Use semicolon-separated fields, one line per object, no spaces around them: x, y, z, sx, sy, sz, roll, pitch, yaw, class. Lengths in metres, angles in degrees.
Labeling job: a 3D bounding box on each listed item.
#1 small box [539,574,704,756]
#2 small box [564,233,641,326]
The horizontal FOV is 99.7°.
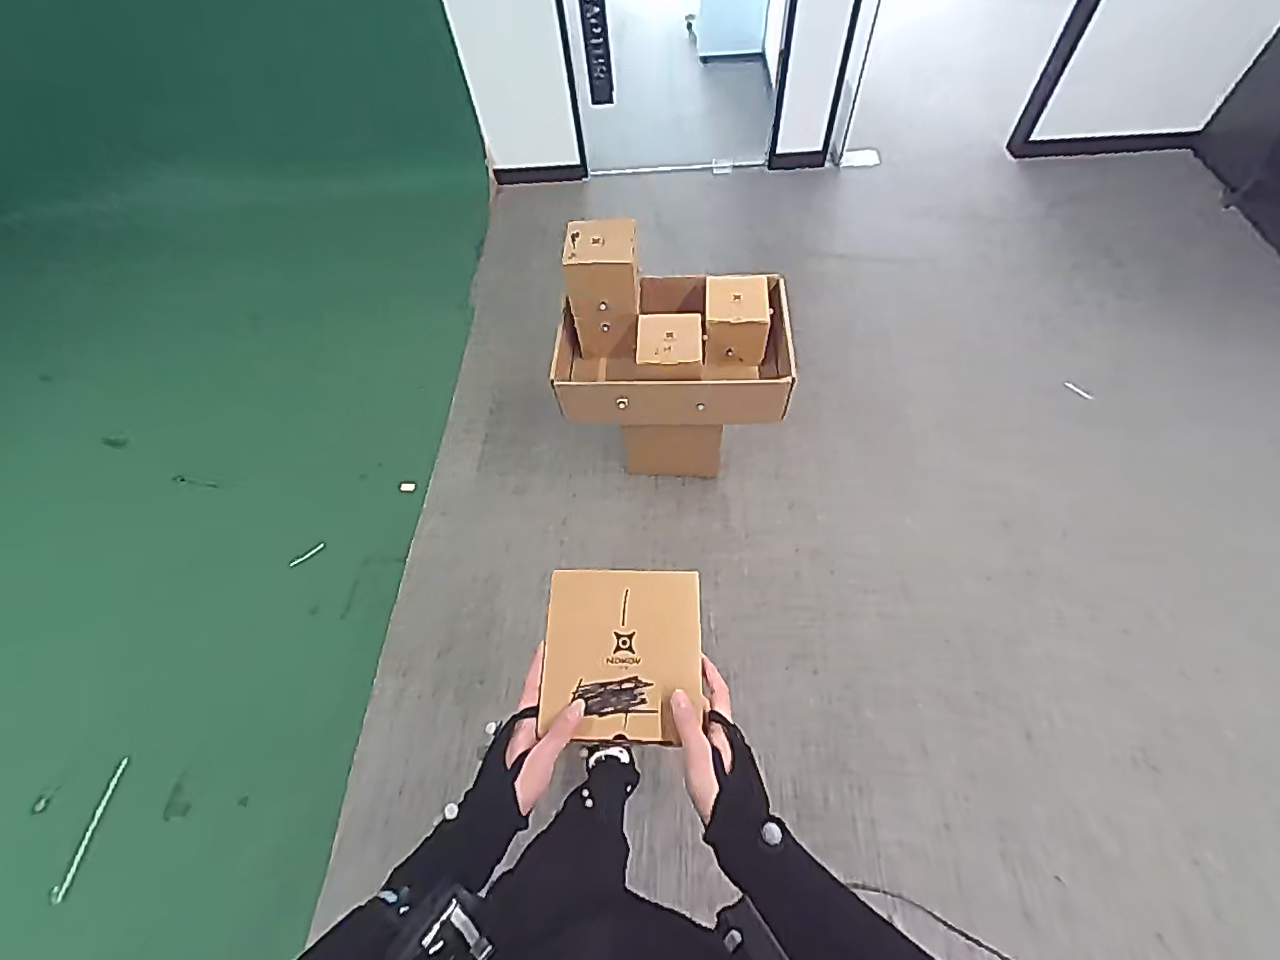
-0.013;0.222;0.632;0.168;0.176;0.179;1;61;1;small box
-0.090;-0.519;1.410;0.179;0.176;0.168;1;58;4;small box
